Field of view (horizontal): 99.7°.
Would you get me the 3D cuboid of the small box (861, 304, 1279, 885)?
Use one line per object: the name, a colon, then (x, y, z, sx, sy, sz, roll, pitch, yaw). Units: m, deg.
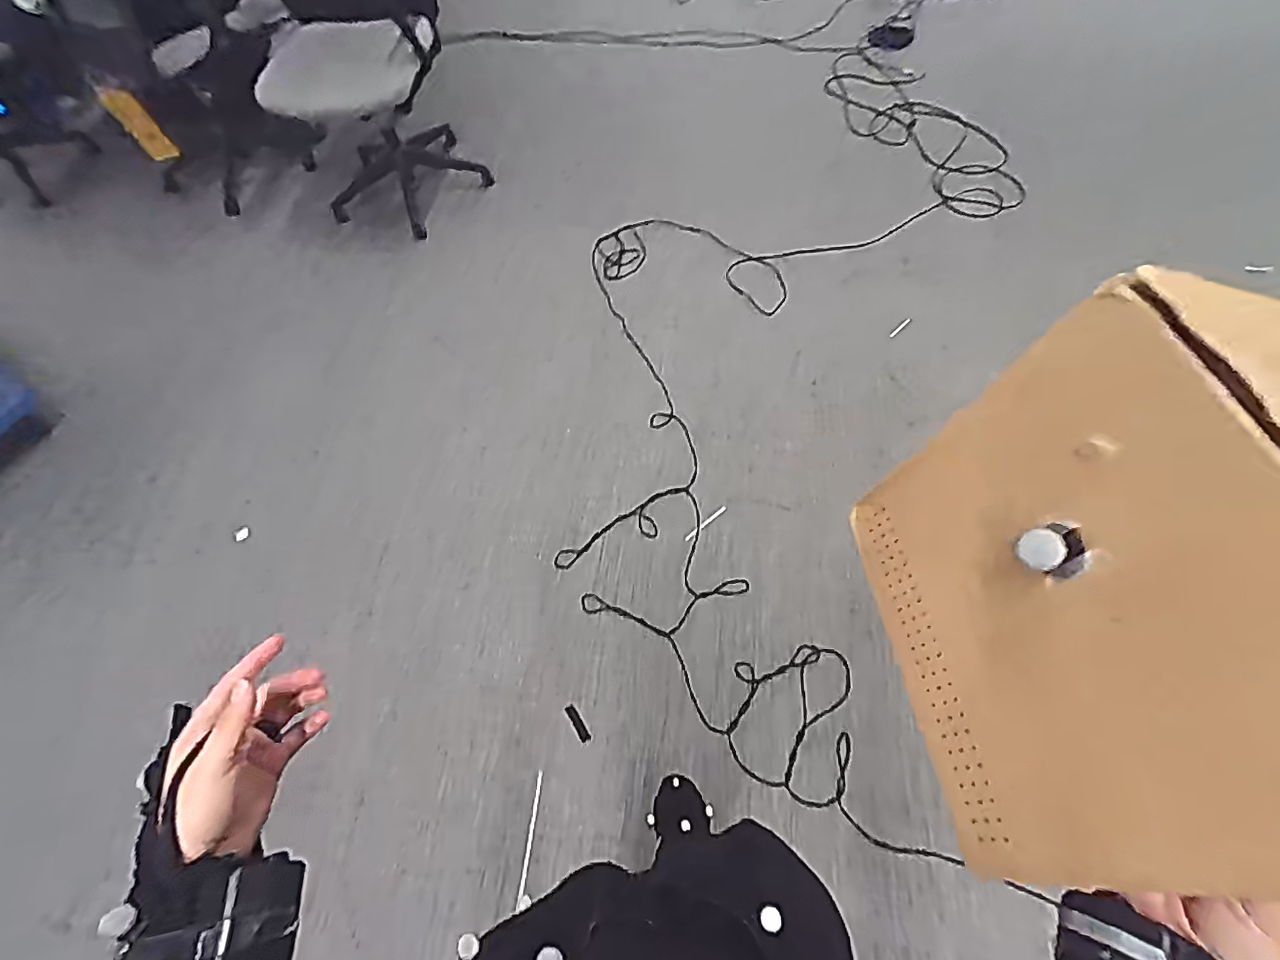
small box: (0.229, 0.057, 0.231, 0.168, 0.176, 0.179, 2, 56, -15)
